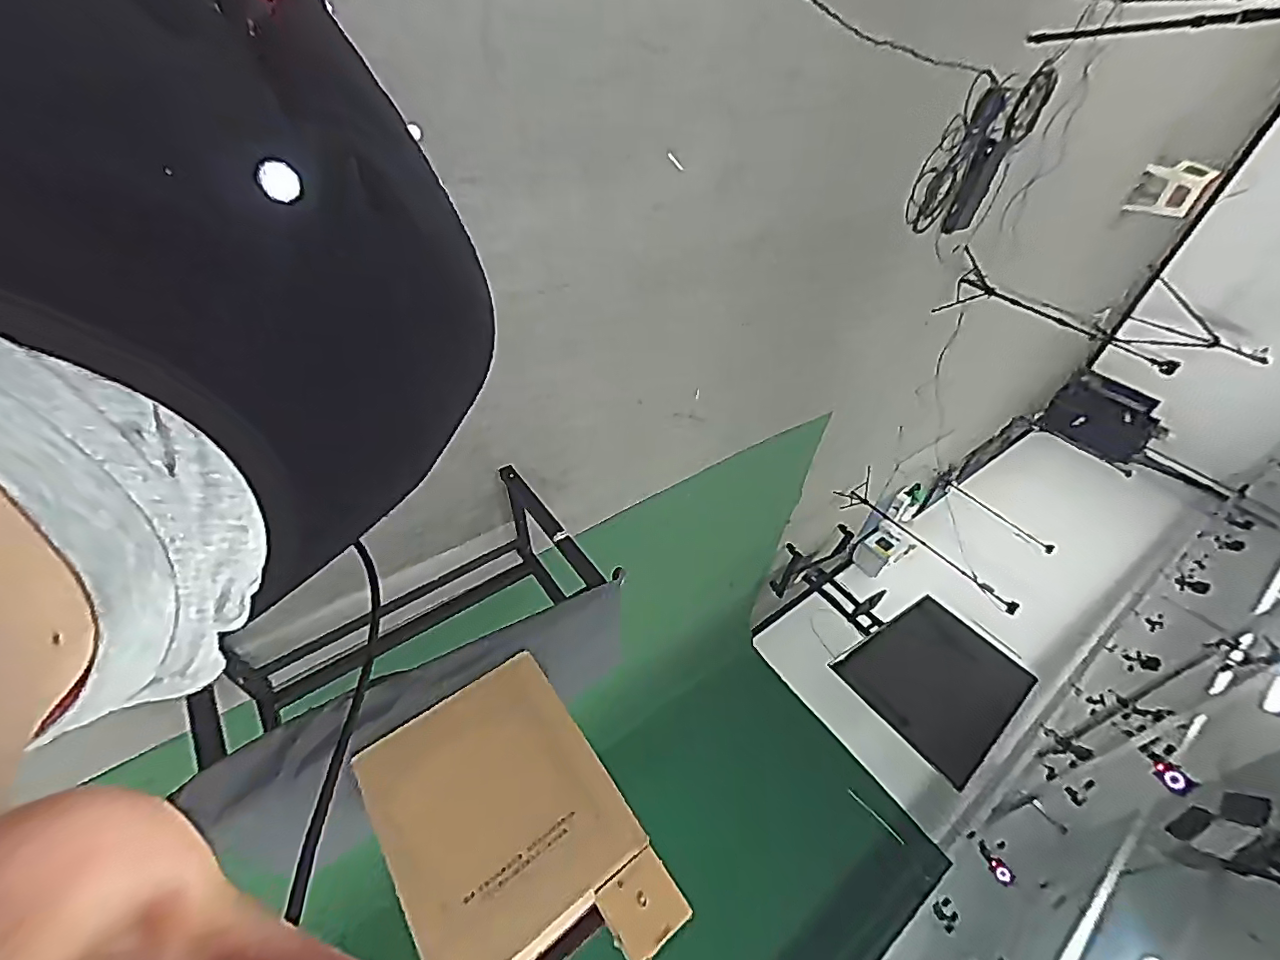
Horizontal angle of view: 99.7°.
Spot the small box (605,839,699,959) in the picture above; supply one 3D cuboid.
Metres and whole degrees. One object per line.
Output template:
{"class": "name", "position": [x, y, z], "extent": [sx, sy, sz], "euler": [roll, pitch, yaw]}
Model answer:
{"class": "small box", "position": [0.024, 1.030, 1.334], "extent": [0.168, 0.176, 0.179], "euler": [-29, 143, -27]}
